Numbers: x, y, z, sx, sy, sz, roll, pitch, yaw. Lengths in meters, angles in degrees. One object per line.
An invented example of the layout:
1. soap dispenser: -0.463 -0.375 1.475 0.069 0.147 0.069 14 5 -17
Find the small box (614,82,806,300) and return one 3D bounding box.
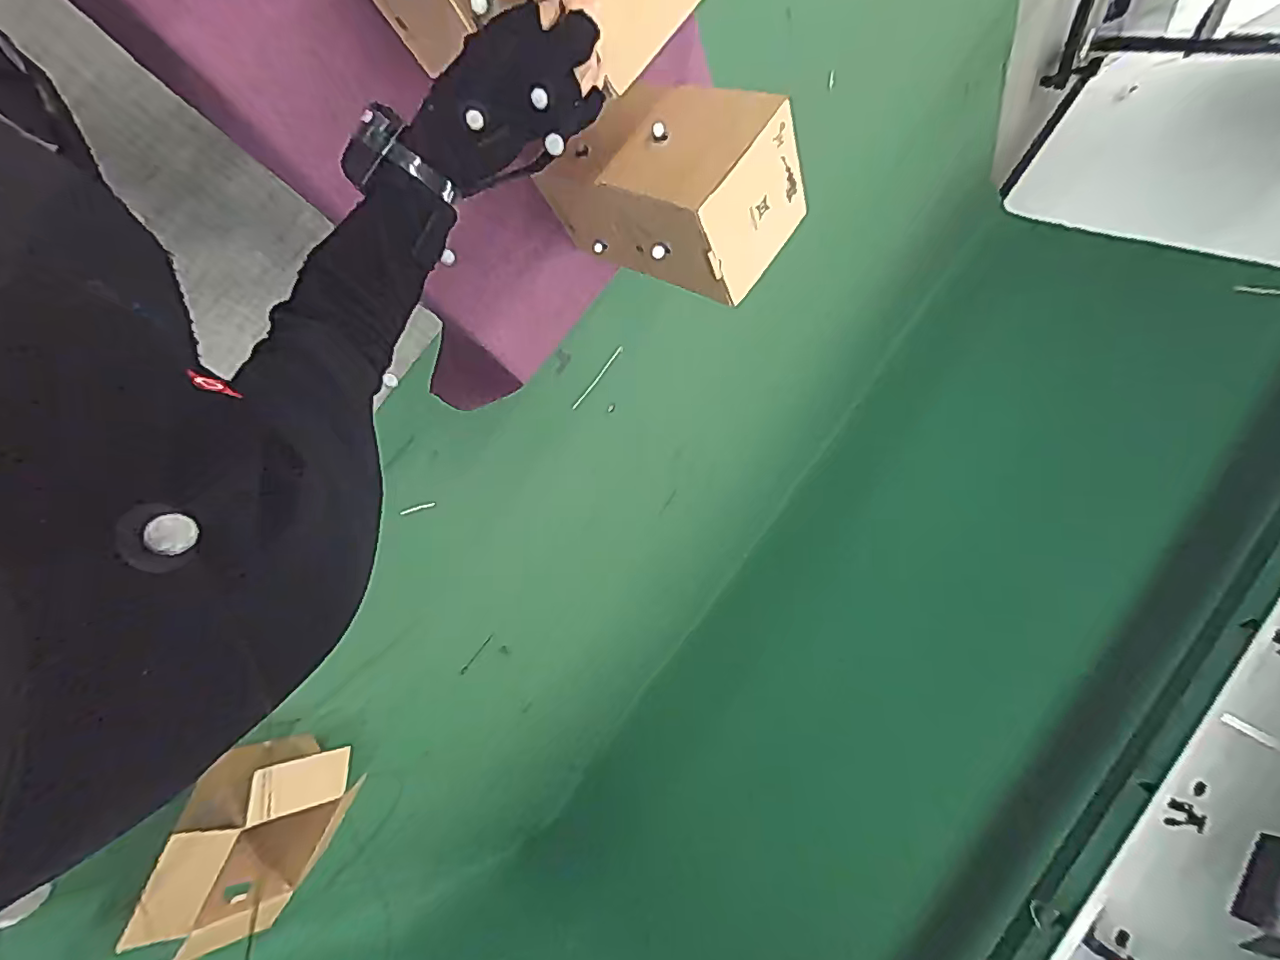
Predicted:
1. small box: 0.088 -0.376 0.706 0.179 0.176 0.168 -51 148 -4

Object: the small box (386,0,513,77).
1. small box: -0.174 -0.542 0.531 0.179 0.176 0.168 -54 147 -3

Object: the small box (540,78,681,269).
1. small box: -0.023 -0.454 0.800 0.179 0.176 0.168 -52 148 -5

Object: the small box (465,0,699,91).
1. small box: -0.054 -0.468 0.444 0.179 0.176 0.168 -52 147 -6
